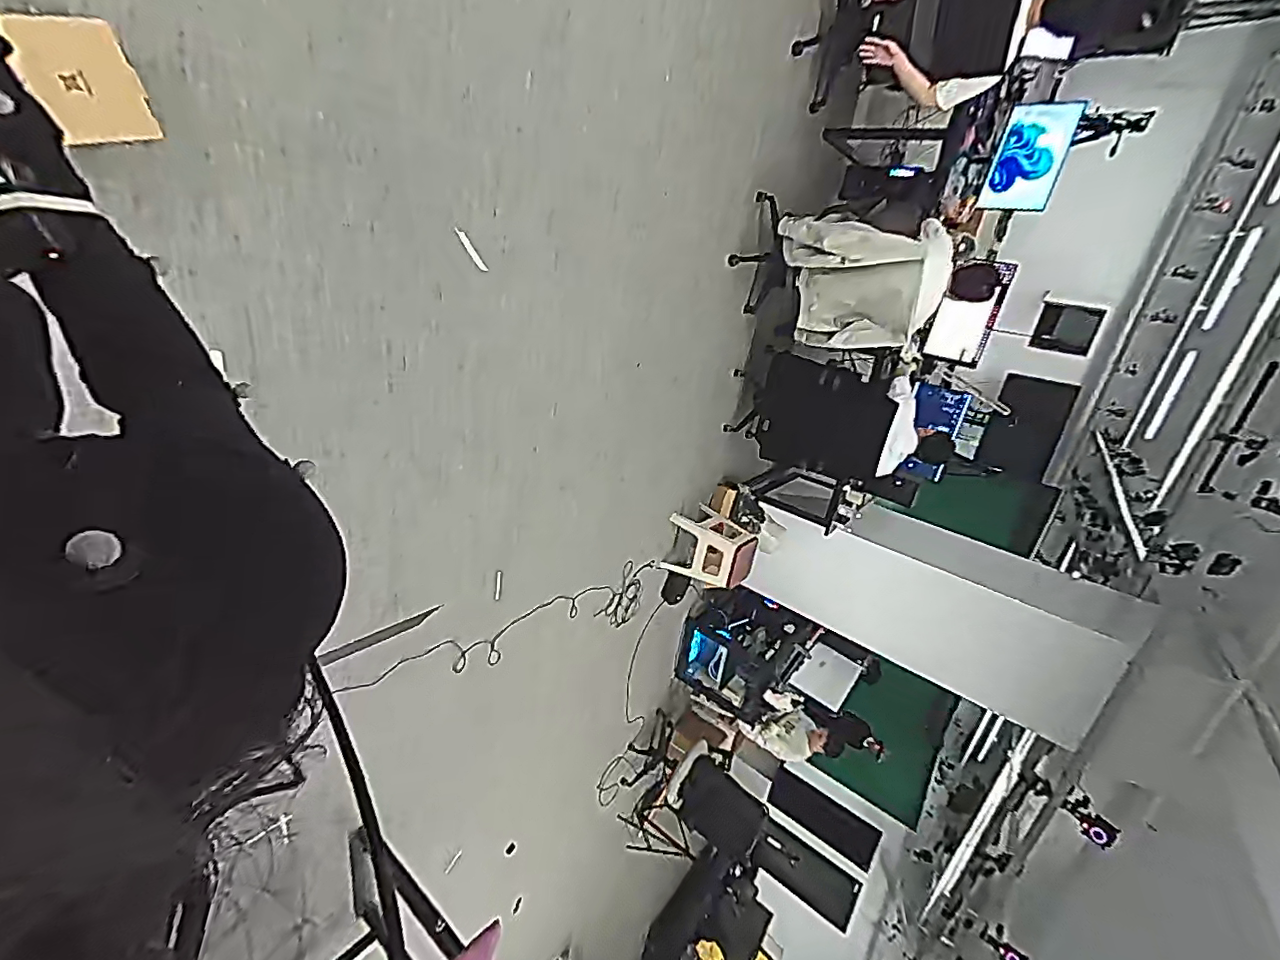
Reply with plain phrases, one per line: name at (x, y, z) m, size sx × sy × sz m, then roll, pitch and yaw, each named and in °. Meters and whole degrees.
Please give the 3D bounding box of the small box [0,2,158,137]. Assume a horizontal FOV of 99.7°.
small box at (-0.963, -0.668, 0.889) m, size 0.179 × 0.176 × 0.168 m, roll -37°, pitch 138°, yaw -38°
